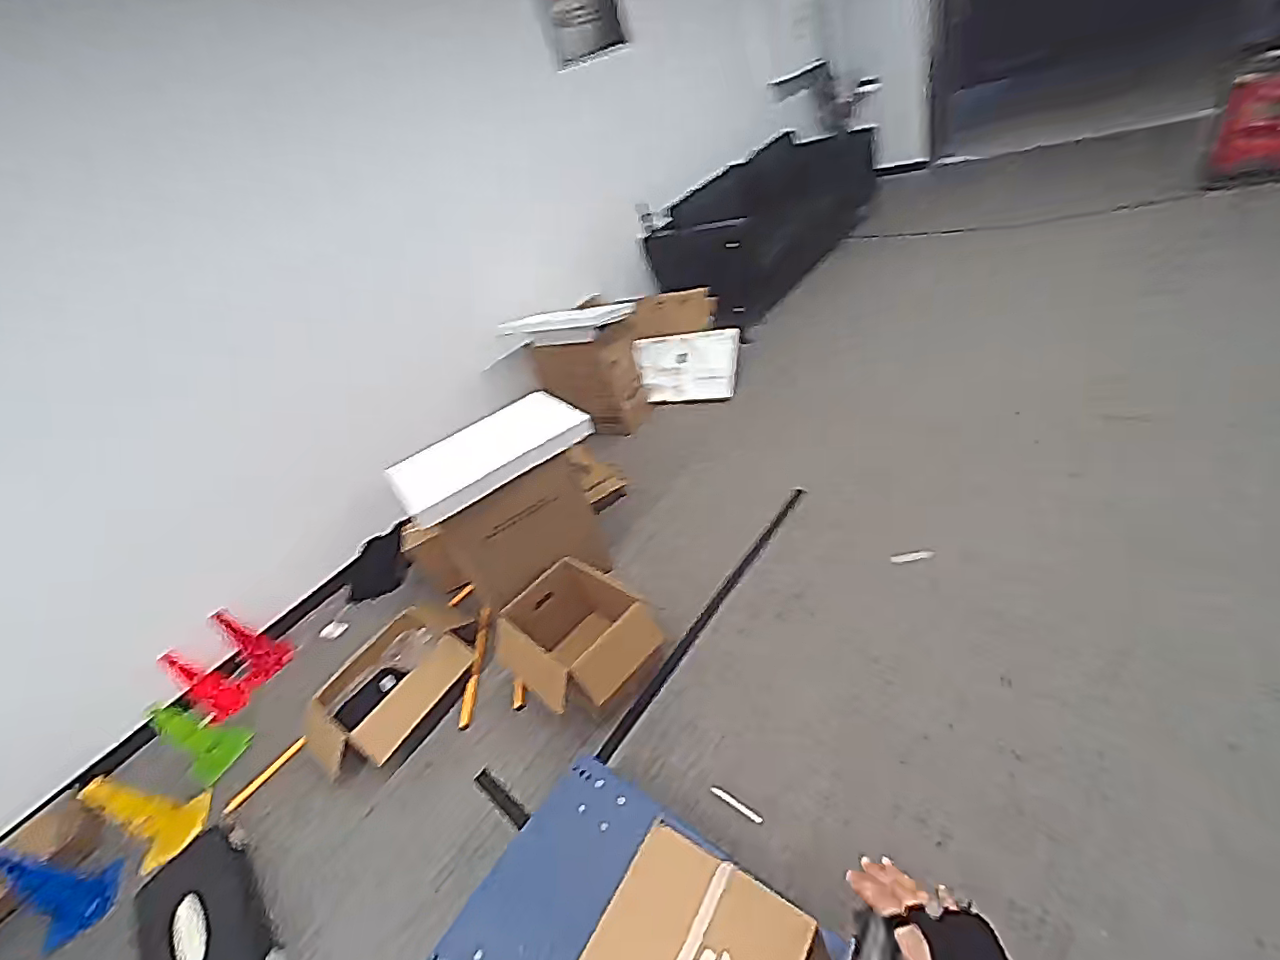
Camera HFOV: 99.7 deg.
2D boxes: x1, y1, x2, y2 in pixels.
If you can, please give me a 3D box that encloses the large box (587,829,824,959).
[{"bbox_3d":[0.088,0.907,0.885,0.320,0.320,0.408,9,43,37],"label":"large box"}]
